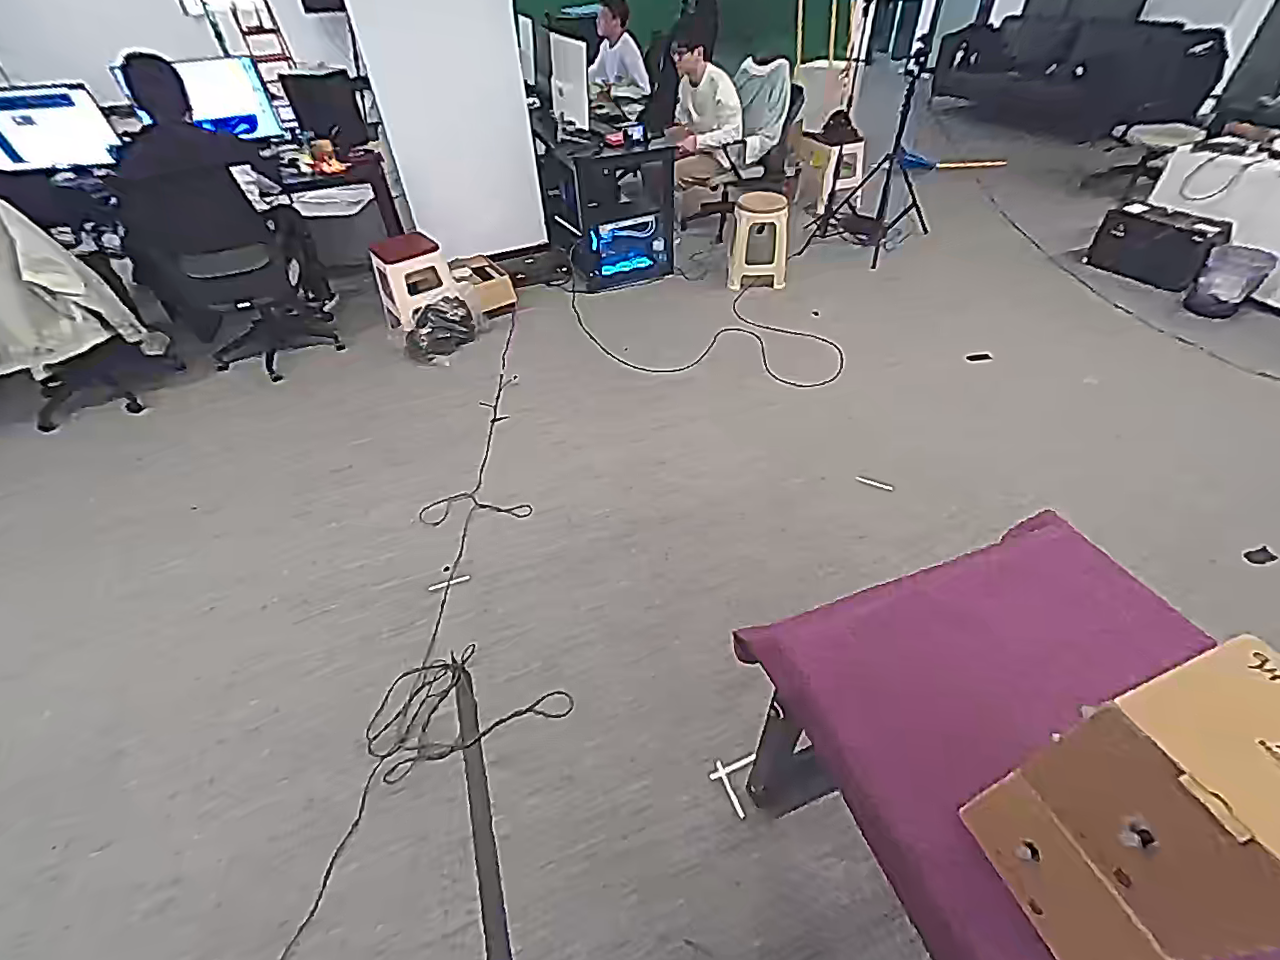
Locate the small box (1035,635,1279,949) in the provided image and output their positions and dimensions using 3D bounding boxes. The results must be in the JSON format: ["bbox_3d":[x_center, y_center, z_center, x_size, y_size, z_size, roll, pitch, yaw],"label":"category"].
[{"bbox_3d":[0.498,0.273,0.476,0.179,0.176,0.168,-16,46,-13],"label":"small box"}]

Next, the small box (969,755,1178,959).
[{"bbox_3d":[0.499,0.393,0.588,0.179,0.176,0.168,-15,46,-13],"label":"small box"}]
